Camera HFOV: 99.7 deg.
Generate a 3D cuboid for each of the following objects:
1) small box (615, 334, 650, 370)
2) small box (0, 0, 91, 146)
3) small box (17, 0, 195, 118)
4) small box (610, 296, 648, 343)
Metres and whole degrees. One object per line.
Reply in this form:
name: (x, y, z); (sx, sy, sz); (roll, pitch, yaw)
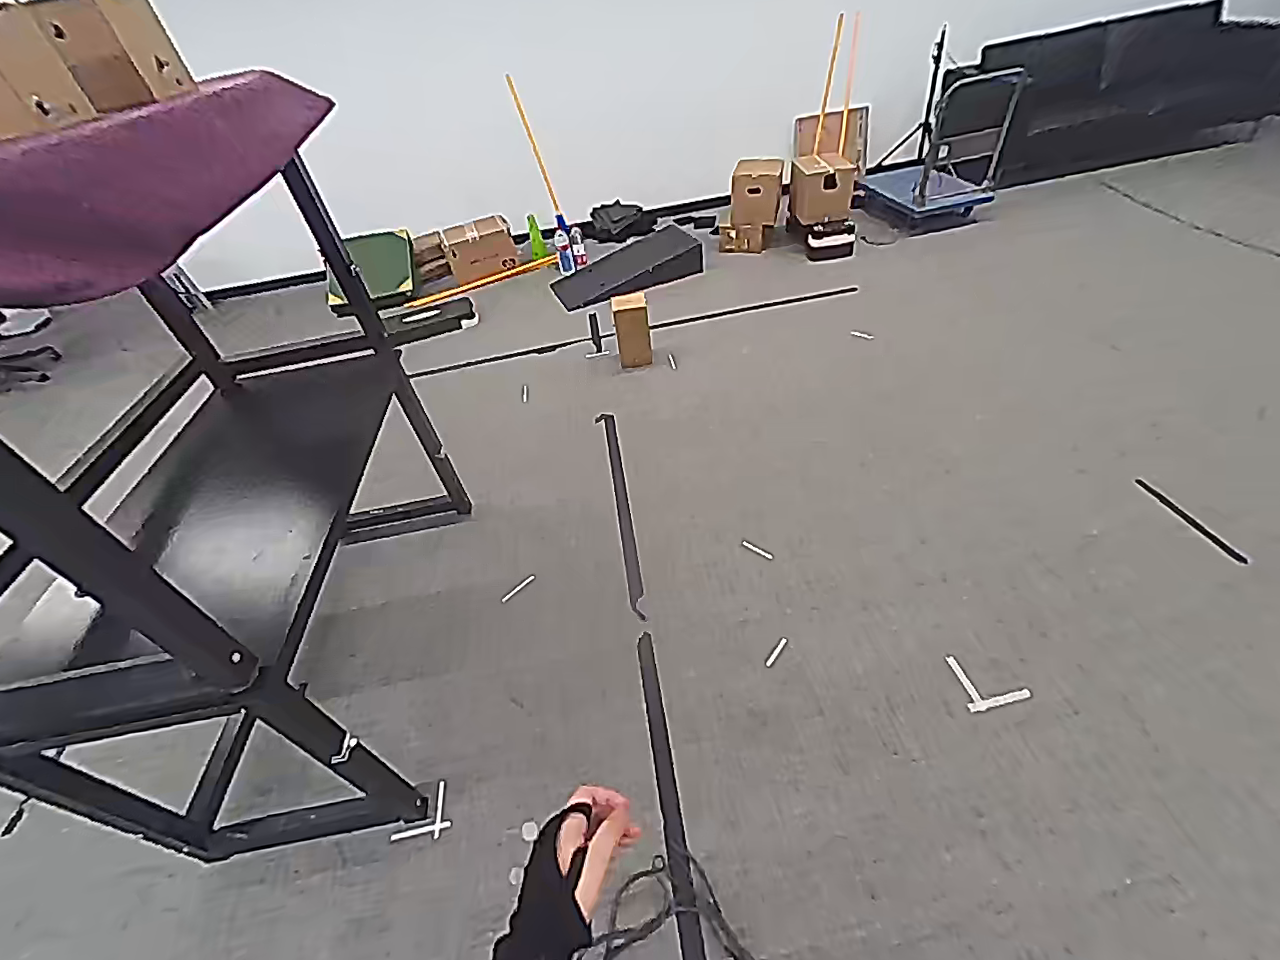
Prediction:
small box: (-0.041, -0.713, 2.920); (0.179, 0.176, 0.168); (-9, 42, -1)
small box: (-1.034, -0.621, 0.837); (0.179, 0.176, 0.168); (-15, 42, -4)
small box: (-1.064, -0.844, 1.081); (0.179, 0.176, 0.168); (-9, 43, 2)
small box: (-0.055, -0.832, 2.808); (0.179, 0.176, 0.168); (-8, 42, 2)
